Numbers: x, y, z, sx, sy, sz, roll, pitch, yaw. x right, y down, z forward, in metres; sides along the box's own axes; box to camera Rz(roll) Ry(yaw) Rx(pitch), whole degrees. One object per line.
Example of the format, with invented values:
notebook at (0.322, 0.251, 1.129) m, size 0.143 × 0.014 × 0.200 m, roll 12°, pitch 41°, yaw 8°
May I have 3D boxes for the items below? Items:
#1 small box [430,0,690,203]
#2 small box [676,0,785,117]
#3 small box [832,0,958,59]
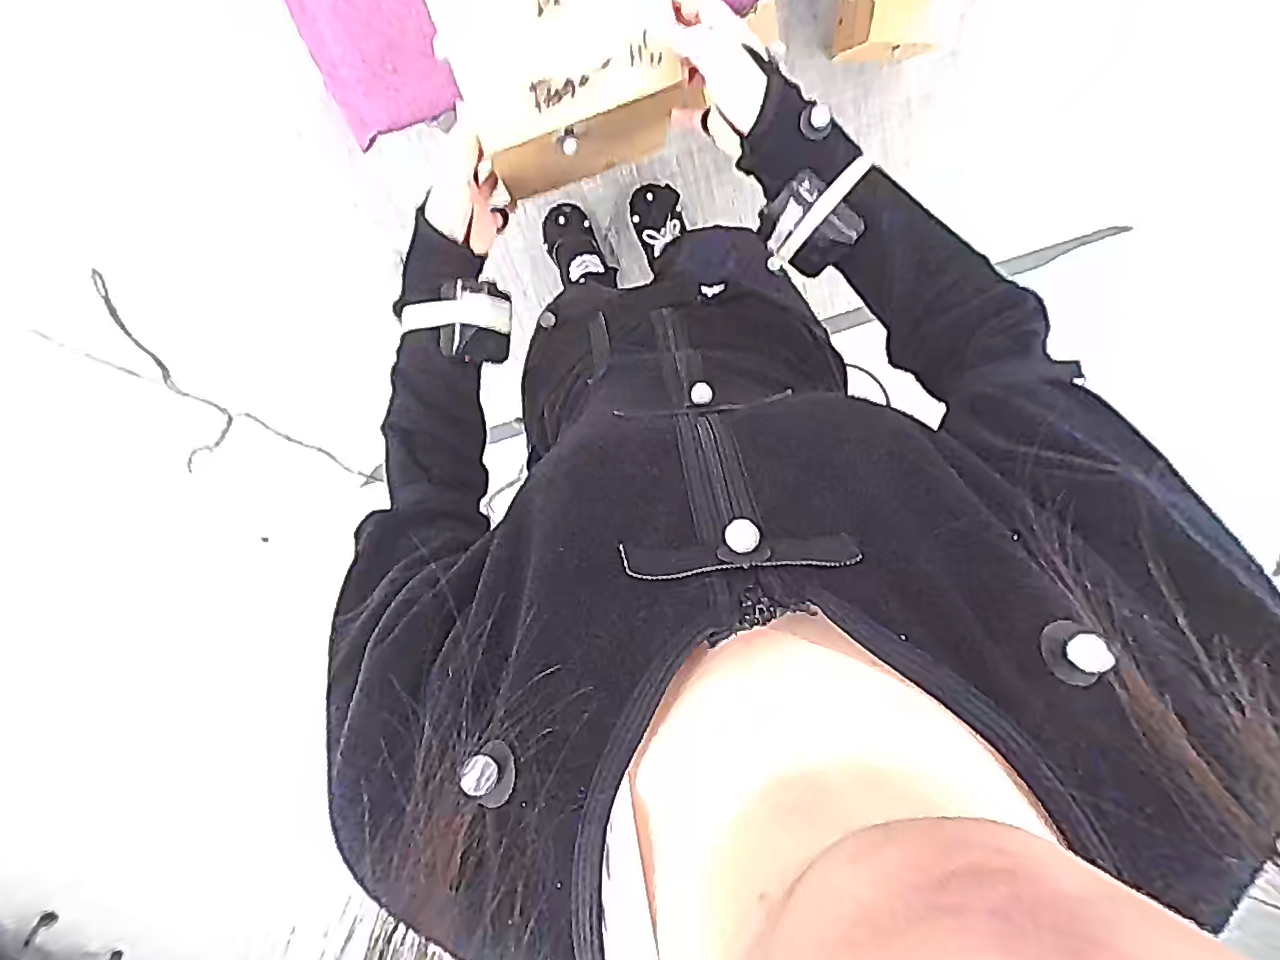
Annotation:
small box at (-0.072, -0.367, 0.455) m, size 0.168 × 0.176 × 0.179 m, roll -20°, pitch 105°, yaw 1°
small box at (0.171, -0.860, 1.084) m, size 0.168 × 0.176 × 0.179 m, roll -19°, pitch 119°, yaw 3°
small box at (0.513, -0.963, 1.081) m, size 0.179 × 0.176 × 0.168 m, roll -3°, pitch 119°, yaw -5°
